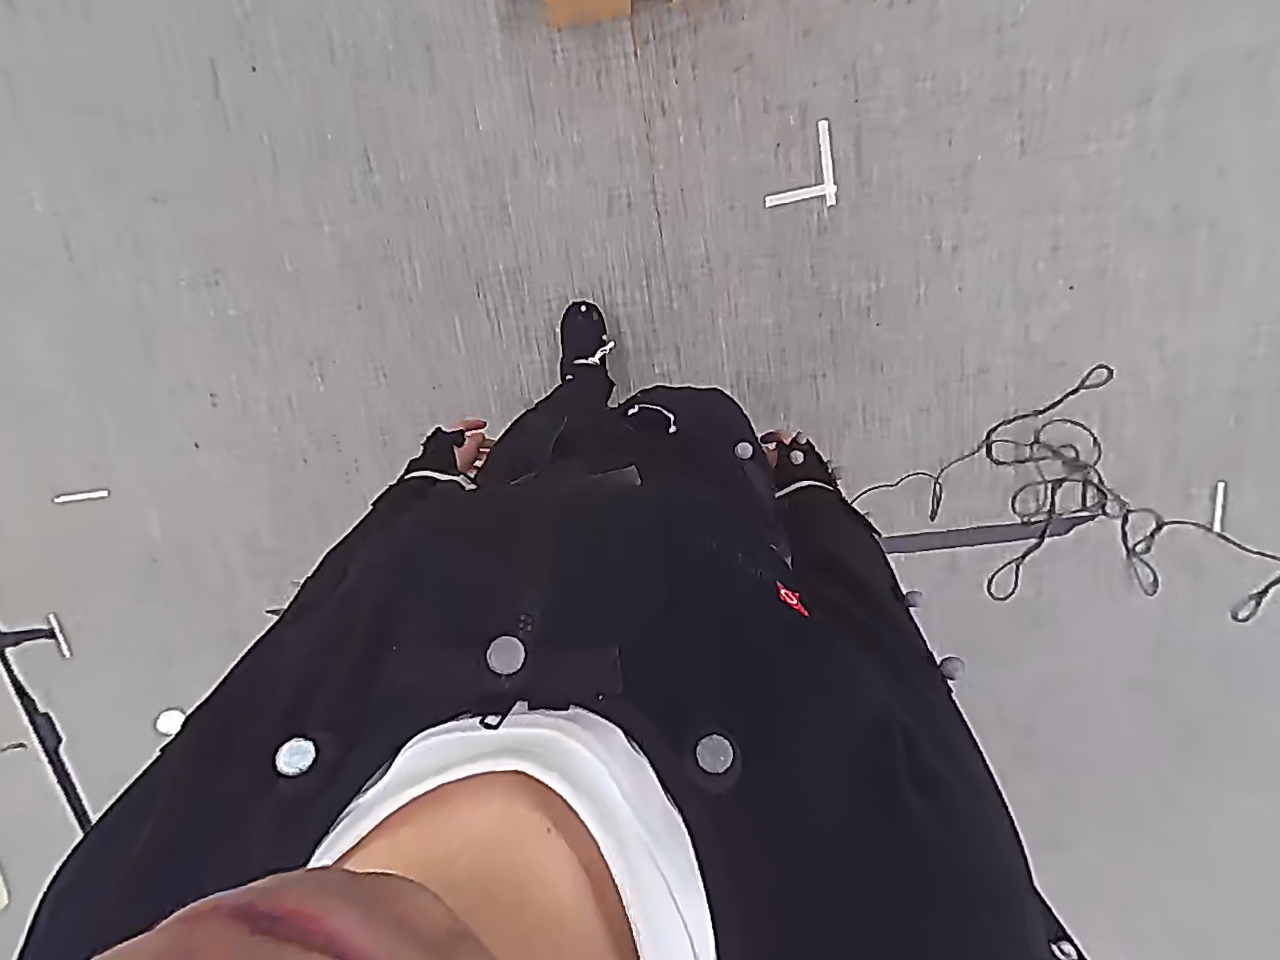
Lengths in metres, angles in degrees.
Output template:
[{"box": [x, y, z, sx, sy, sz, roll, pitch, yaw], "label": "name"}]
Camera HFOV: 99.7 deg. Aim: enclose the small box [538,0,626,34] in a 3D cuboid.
[{"box": [-0.123, -1.029, 1.064, 0.179, 0.176, 0.168, -7, 103, 4], "label": "small box"}]
